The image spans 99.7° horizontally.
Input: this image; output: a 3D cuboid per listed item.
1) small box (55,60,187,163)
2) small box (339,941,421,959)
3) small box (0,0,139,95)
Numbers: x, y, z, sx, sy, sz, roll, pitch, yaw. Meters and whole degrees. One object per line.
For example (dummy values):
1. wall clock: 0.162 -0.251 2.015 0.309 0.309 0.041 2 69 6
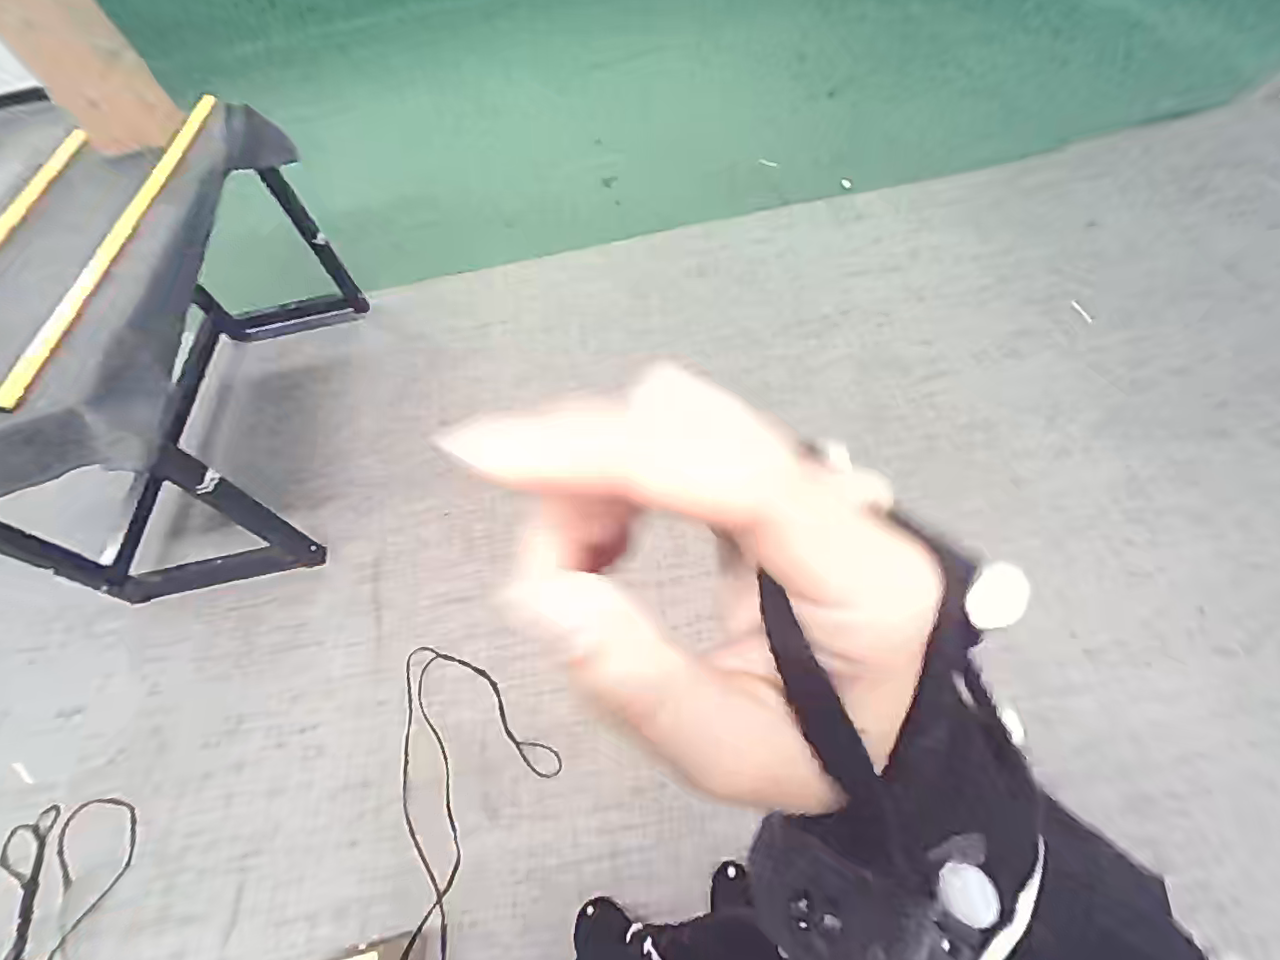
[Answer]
1. small box: -1.408 -1.007 1.484 0.179 0.176 0.168 -11 57 2
2. small box: -0.506 0.952 0.958 0.179 0.176 0.168 -14 56 -1
3. small box: -1.431 -1.098 1.351 0.179 0.176 0.168 -12 58 0
